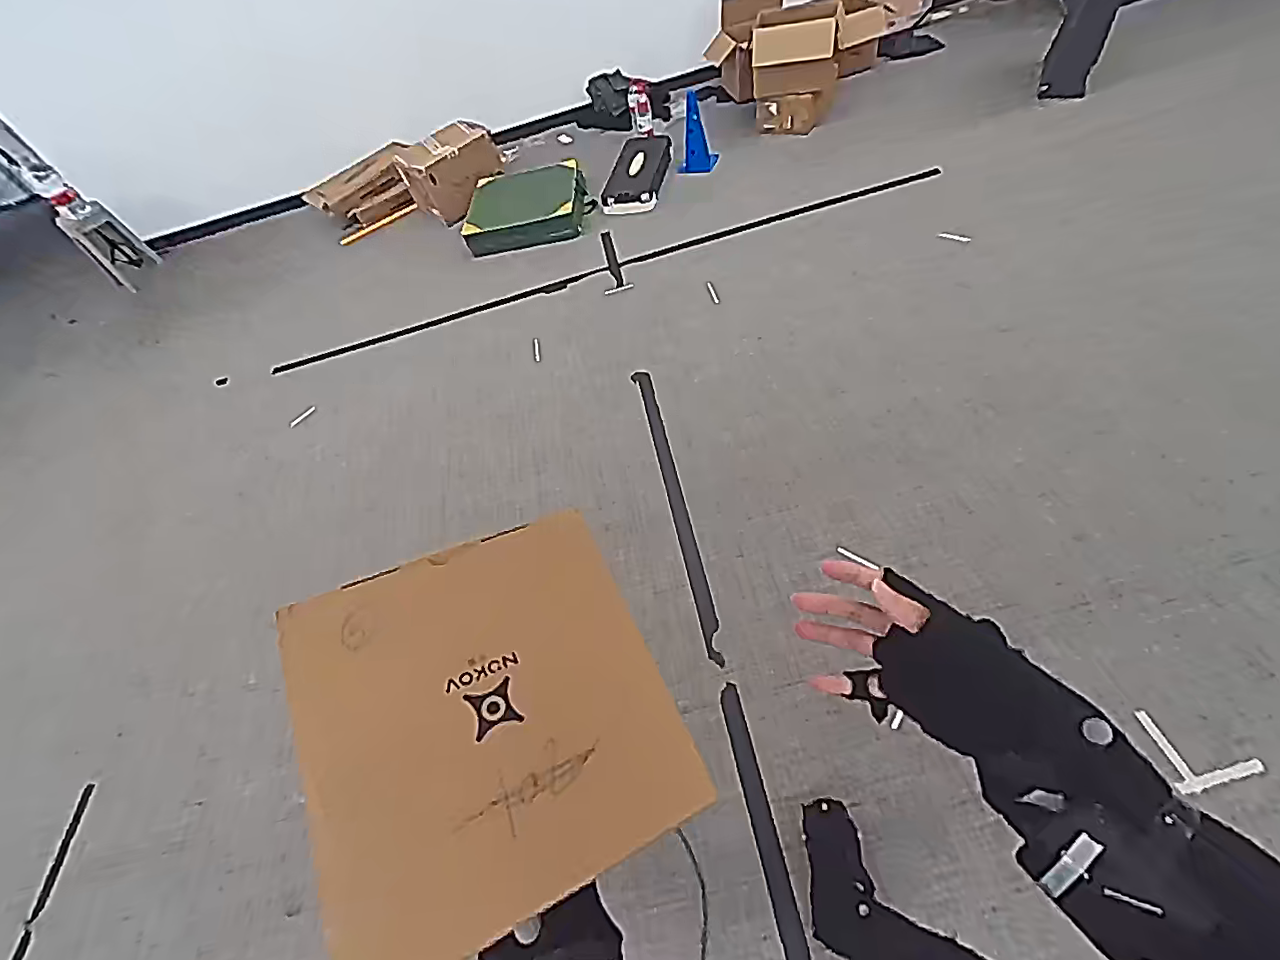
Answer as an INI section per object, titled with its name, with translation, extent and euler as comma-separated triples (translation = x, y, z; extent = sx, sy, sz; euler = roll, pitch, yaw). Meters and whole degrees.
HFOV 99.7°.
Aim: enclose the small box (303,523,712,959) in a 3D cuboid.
[small box]
translation = -0.085, 0.161, 0.342
extent = 0.168, 0.176, 0.179
euler = -18, 60, -22
